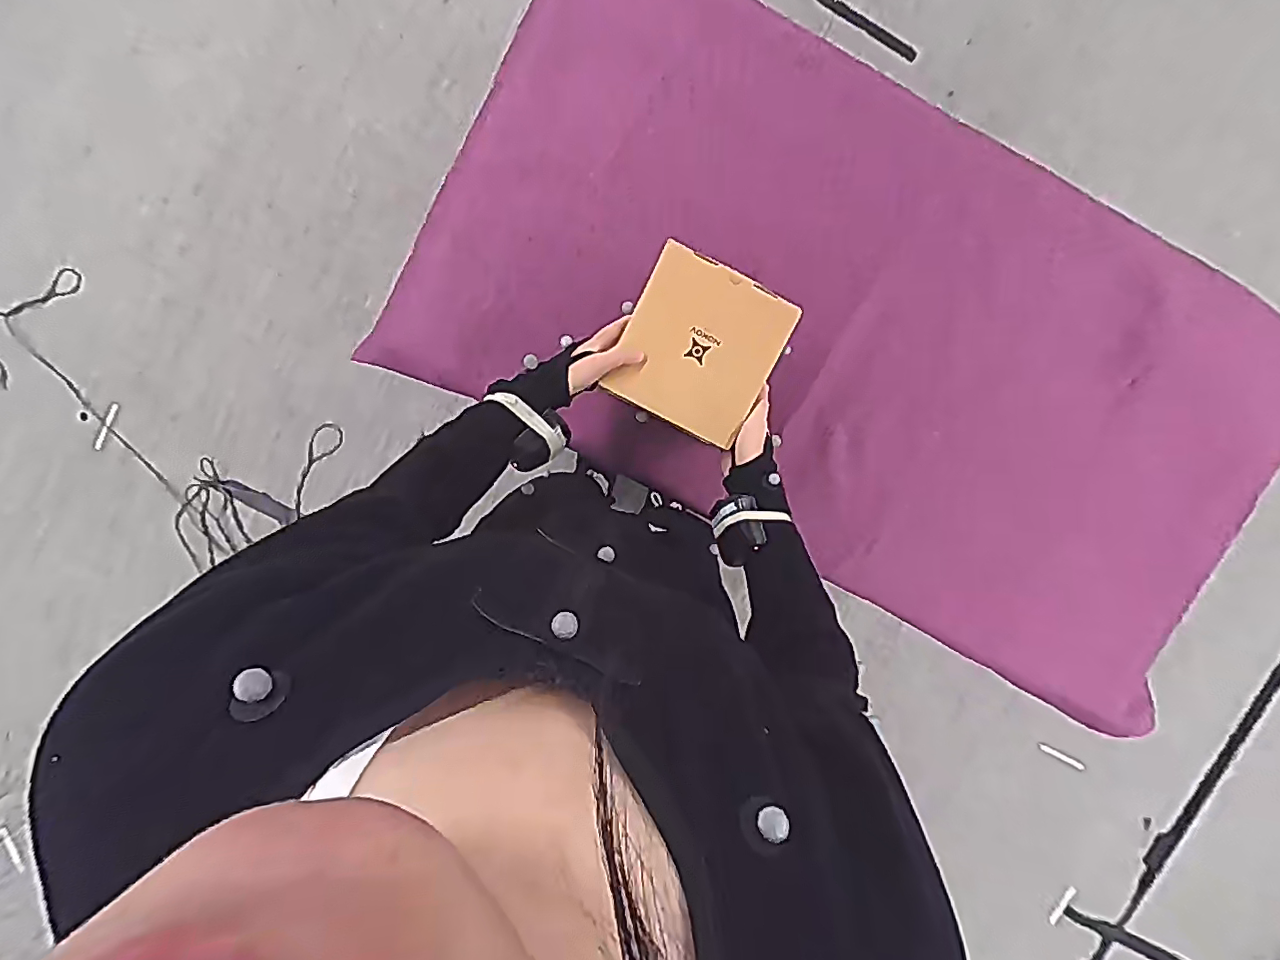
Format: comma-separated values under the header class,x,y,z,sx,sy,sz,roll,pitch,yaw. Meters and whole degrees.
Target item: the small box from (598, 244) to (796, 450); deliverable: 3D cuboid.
class,x,y,z,sx,sy,sz,roll,pitch,yaw
small box,0.064,-0.153,0.678,0.168,0.176,0.179,27,94,-3
